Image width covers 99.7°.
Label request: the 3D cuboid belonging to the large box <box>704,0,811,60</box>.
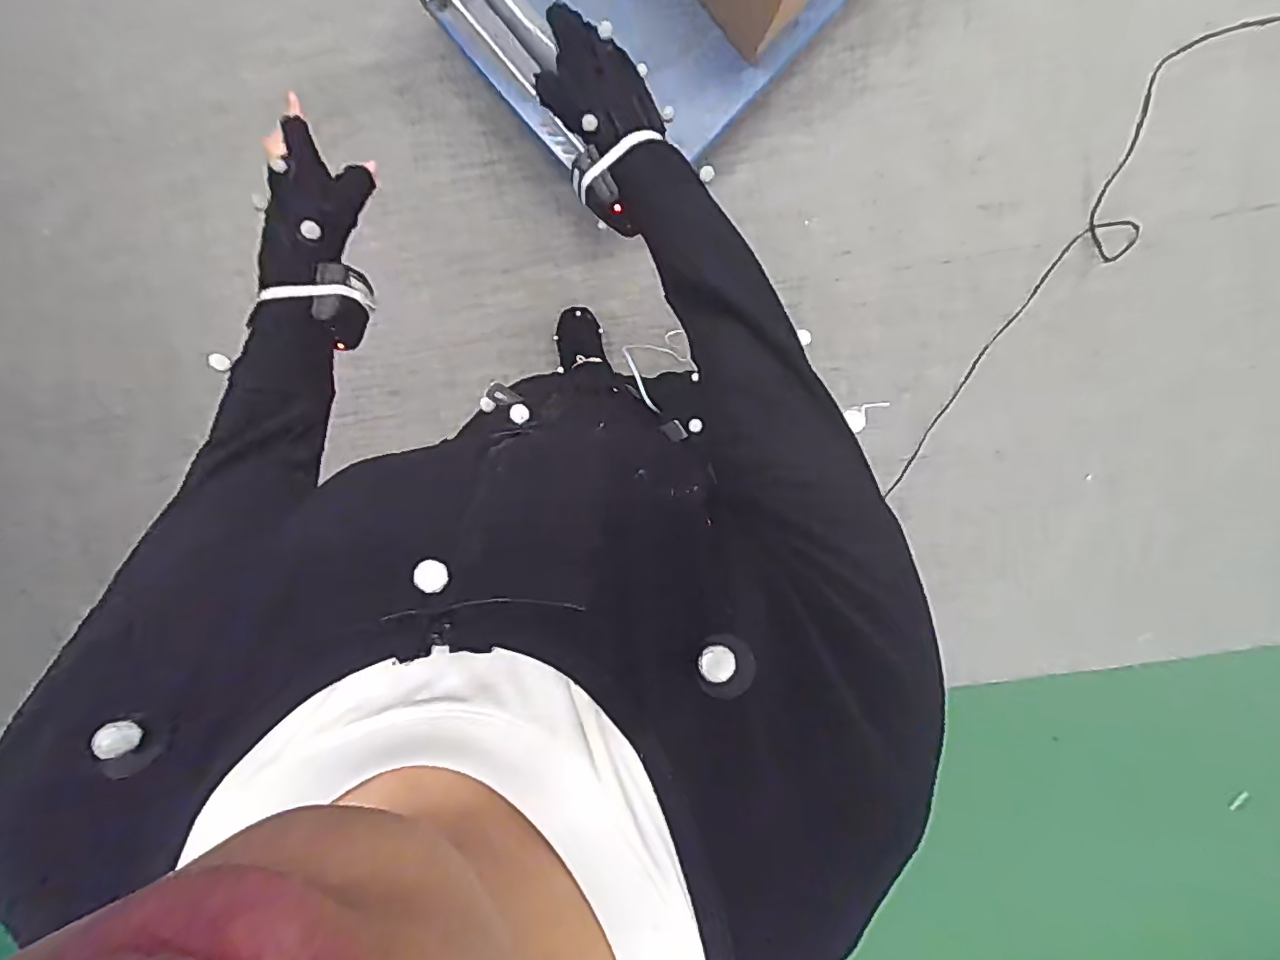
[{"bbox_3d":[0.182,-0.982,0.823,0.408,0.320,0.320,42,104,-13],"label":"large box"}]
